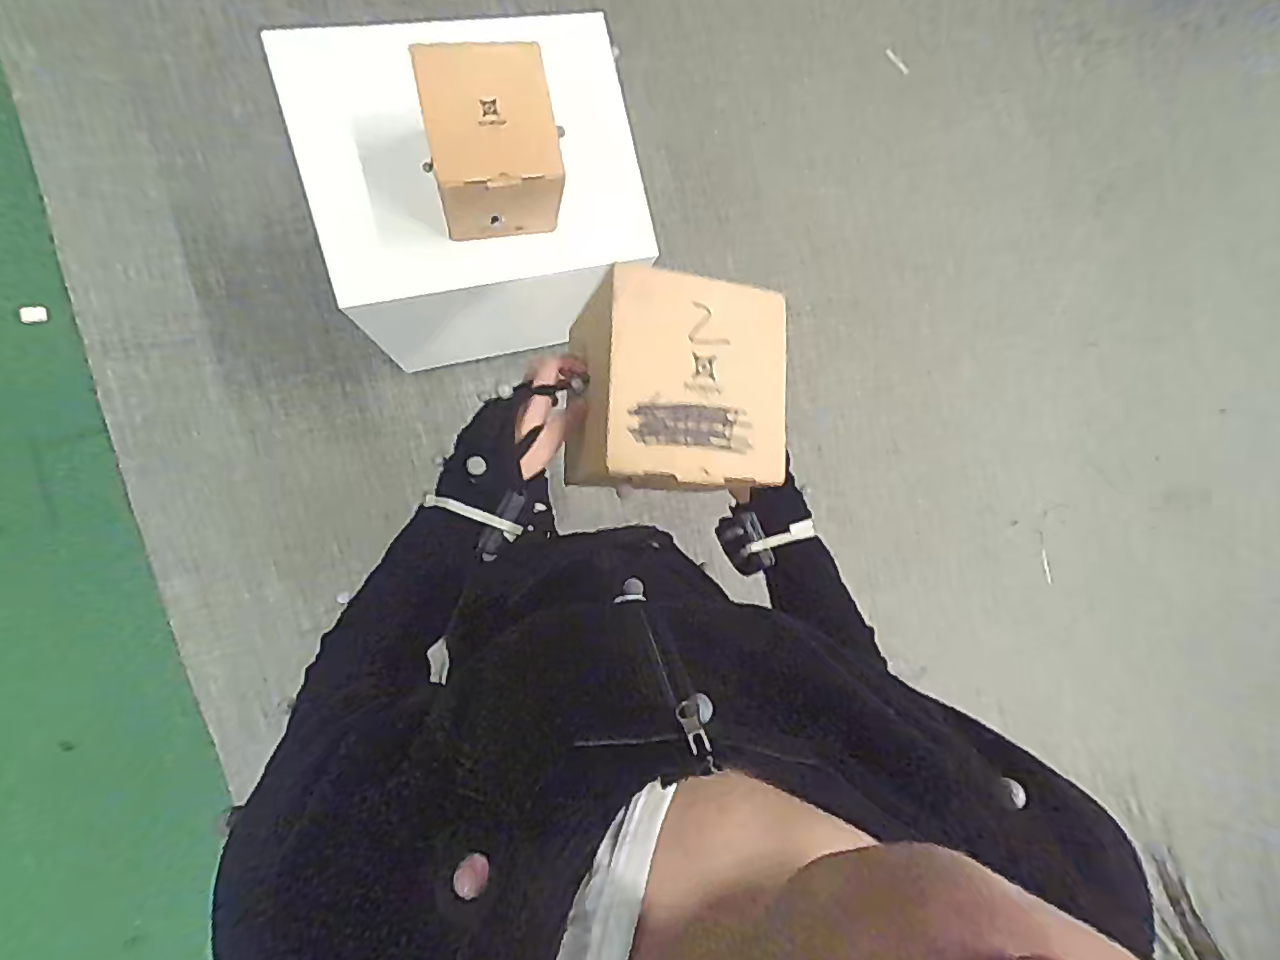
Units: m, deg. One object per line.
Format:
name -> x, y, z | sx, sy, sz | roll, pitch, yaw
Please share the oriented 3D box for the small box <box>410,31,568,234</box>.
small box -> -0.204, -0.470, 0.750 | 0.168, 0.176, 0.179 | -12, 93, -13
